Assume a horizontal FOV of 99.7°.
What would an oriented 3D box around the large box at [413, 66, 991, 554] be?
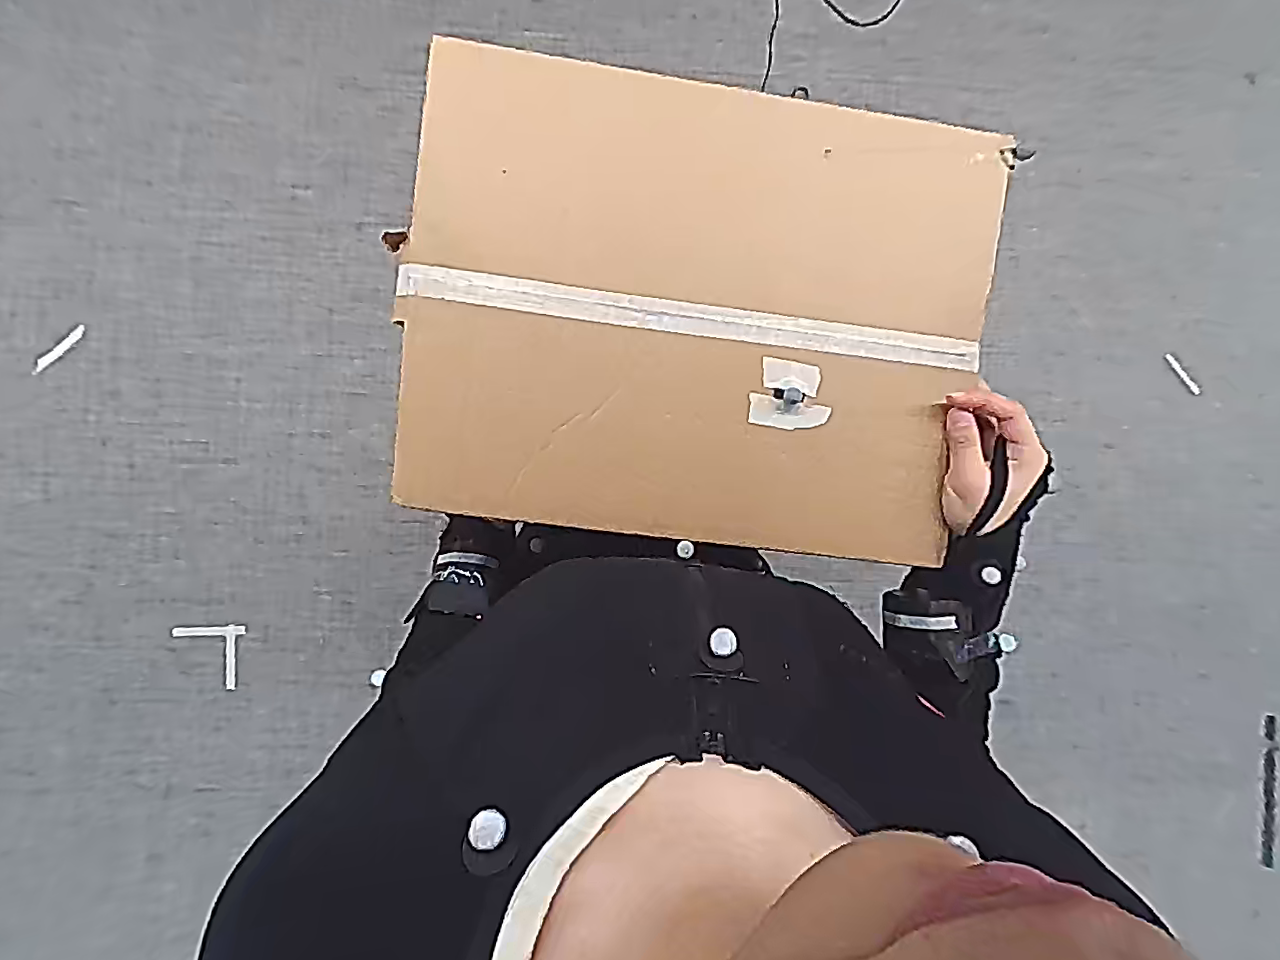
[{"bbox_3d":[0.035,-0.123,0.538,0.408,0.320,0.320,6,95,-5],"label":"large box"}]
